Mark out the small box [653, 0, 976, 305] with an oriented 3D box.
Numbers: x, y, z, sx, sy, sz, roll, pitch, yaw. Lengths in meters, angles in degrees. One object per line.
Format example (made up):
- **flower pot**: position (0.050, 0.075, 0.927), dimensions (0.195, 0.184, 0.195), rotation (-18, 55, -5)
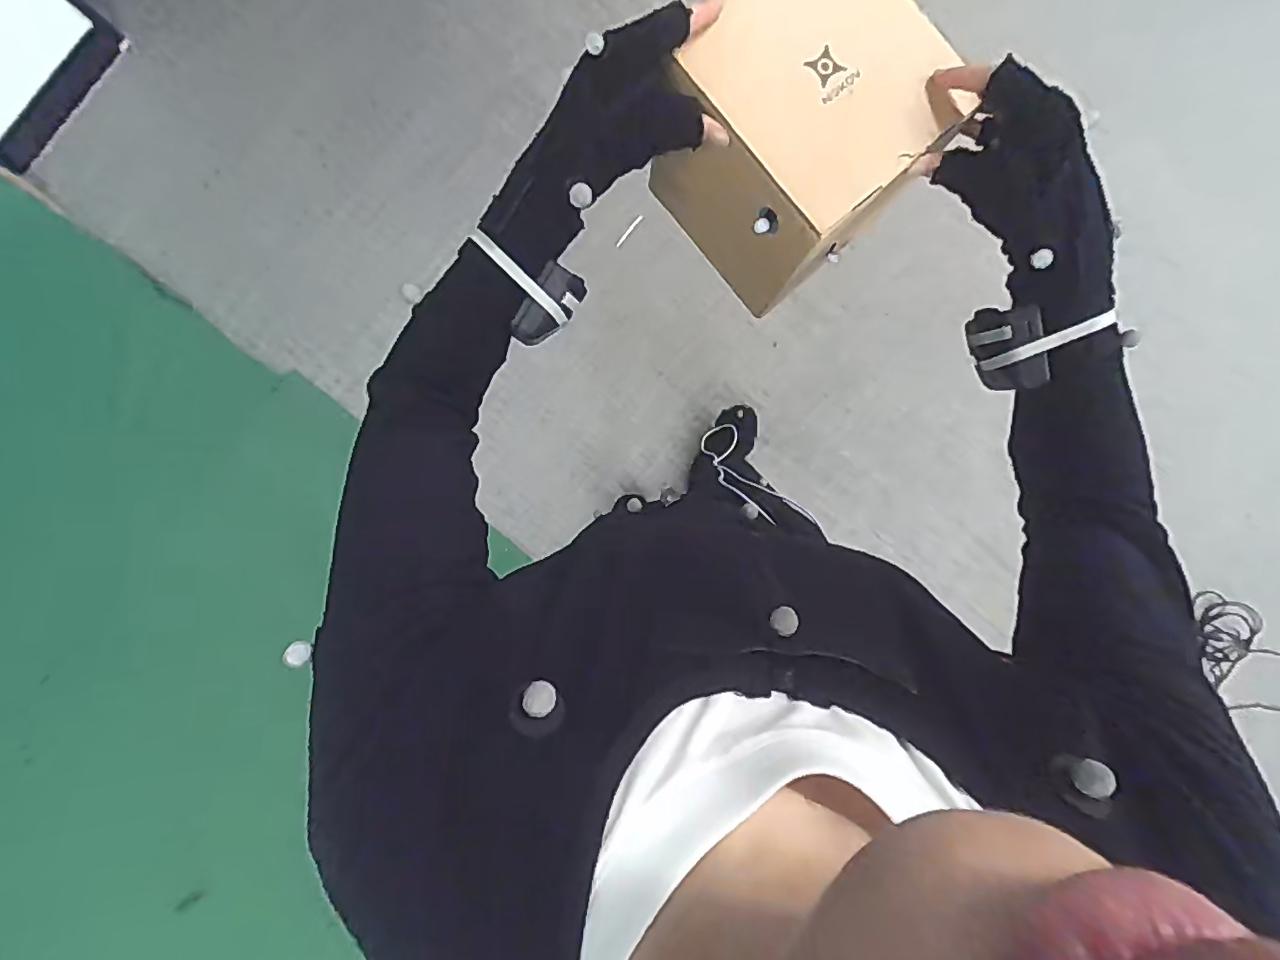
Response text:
- **small box**: position (0.128, -0.288, 0.471), dimensions (0.168, 0.176, 0.179), rotation (-39, 91, -5)
